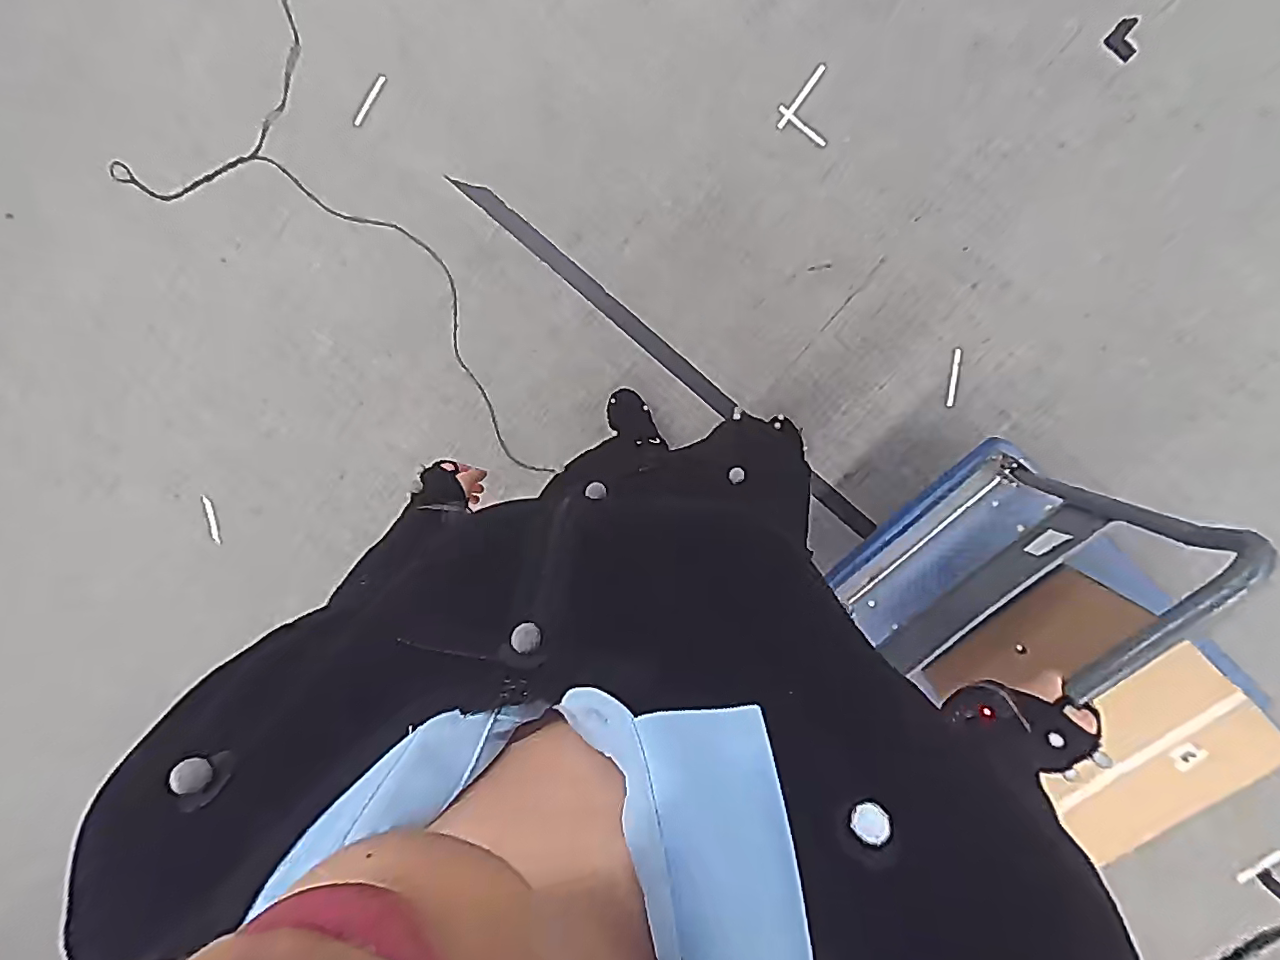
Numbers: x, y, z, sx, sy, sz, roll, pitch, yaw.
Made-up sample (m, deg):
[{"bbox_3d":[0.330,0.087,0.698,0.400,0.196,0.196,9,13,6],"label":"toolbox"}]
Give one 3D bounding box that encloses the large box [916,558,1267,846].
[{"bbox_3d":[0.892,0.441,1.142,0.320,0.320,0.408,44,103,-2],"label":"large box"}]
